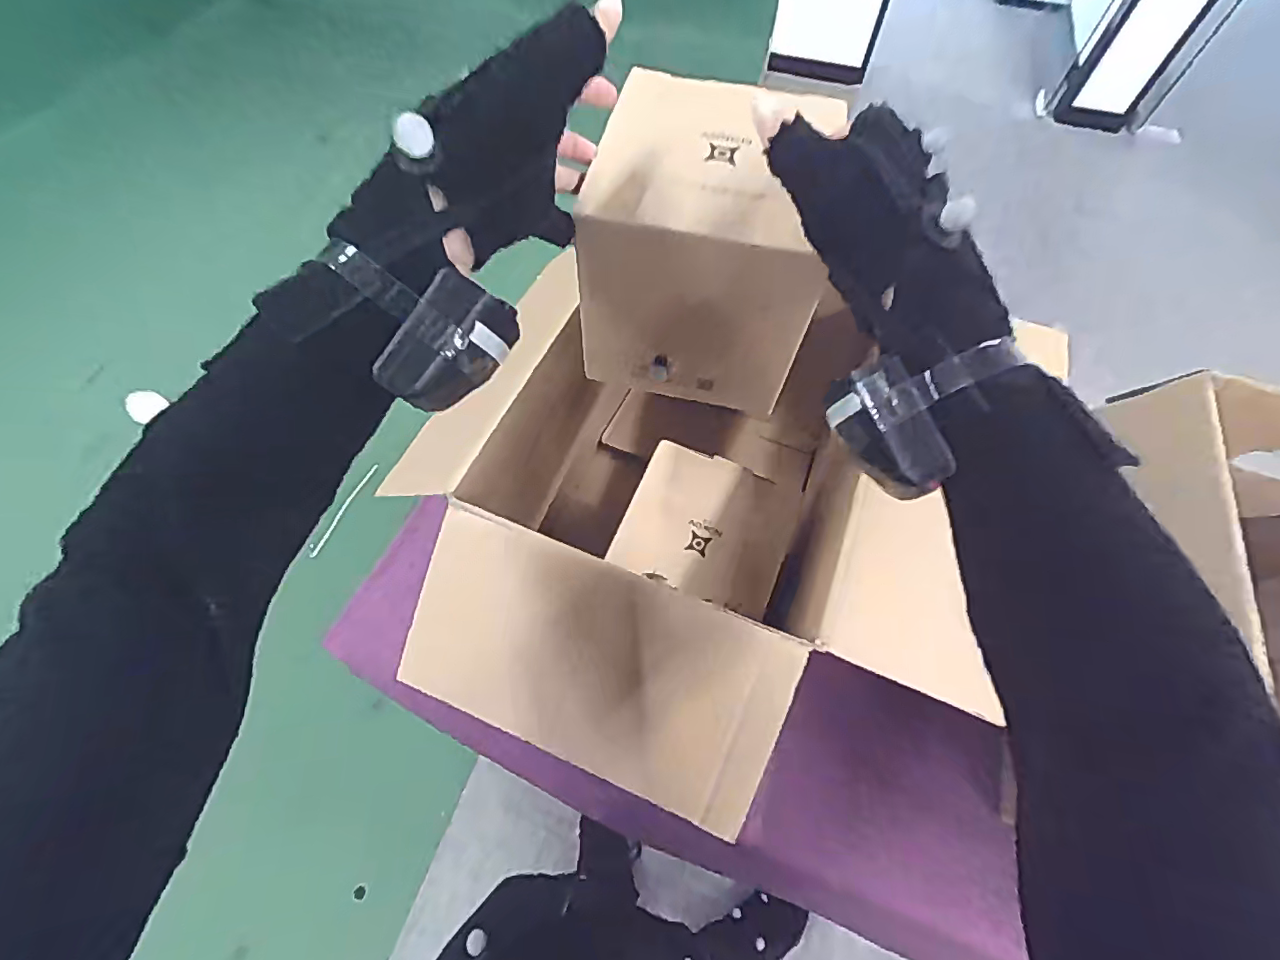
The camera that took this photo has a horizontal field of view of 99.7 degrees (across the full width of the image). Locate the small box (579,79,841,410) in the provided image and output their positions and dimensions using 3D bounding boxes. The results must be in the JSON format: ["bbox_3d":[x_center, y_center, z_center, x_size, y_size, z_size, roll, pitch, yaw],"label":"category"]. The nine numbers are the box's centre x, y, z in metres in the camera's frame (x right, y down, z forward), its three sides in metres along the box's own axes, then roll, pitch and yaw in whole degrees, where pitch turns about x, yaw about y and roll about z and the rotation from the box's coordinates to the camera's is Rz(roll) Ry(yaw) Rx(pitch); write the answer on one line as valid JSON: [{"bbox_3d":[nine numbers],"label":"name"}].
[{"bbox_3d":[0.054,-0.187,0.451,0.168,0.176,0.179,12,62,5],"label":"small box"}]
